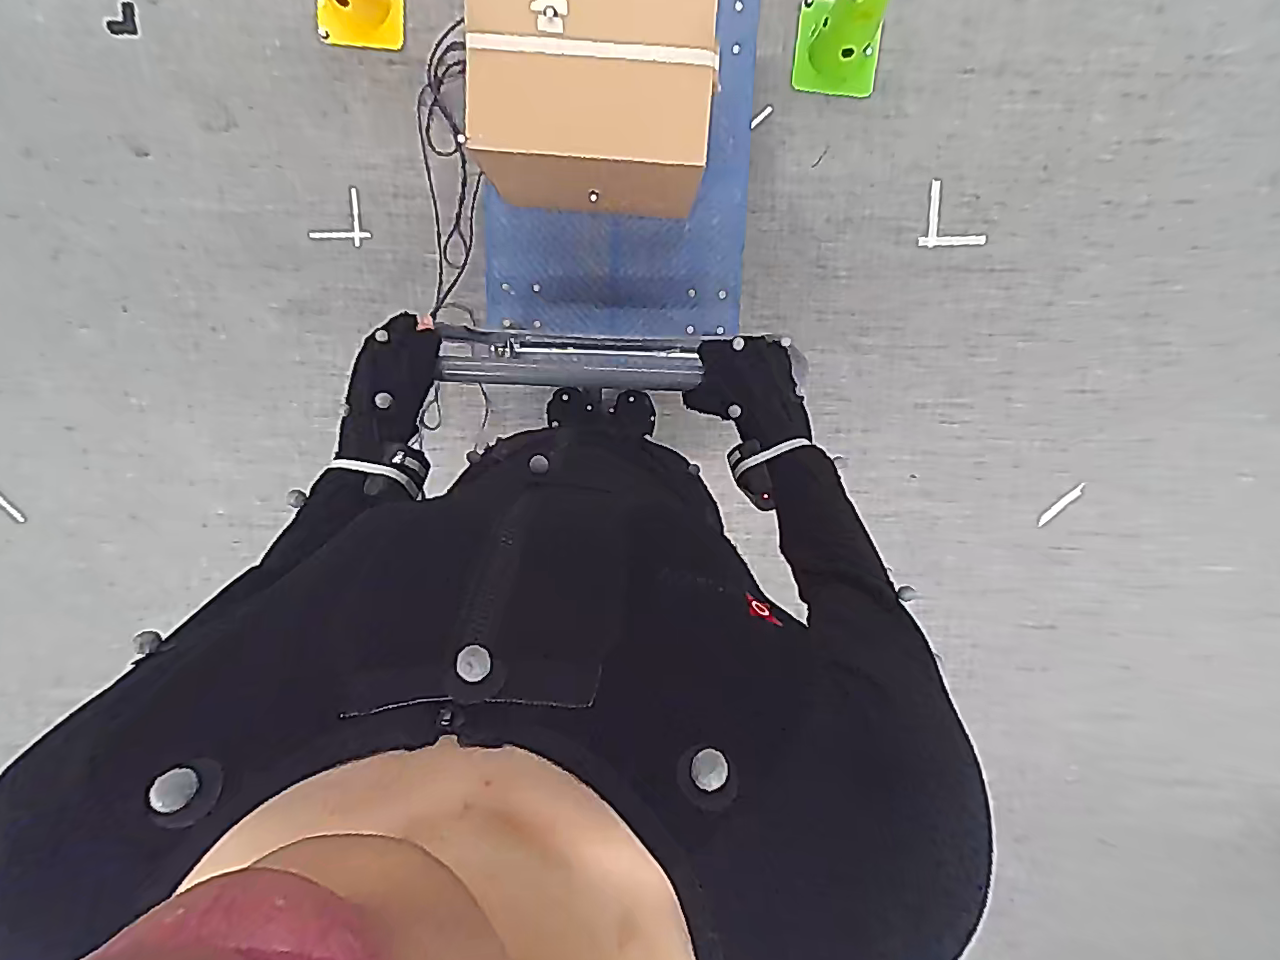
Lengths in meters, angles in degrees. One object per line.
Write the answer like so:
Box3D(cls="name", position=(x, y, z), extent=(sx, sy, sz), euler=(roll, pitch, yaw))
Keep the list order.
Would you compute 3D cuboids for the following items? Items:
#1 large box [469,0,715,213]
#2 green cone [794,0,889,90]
Box3D(cls="large box", position=(-0.079, -0.721, 1.029), extent=(0.408, 0.320, 0.320), euler=(3, 100, 0))
Box3D(cls="green cone", position=(0.480, -1.021, 1.125), extent=(0.202, 0.368, 0.200), euler=(4, 100, -2))
